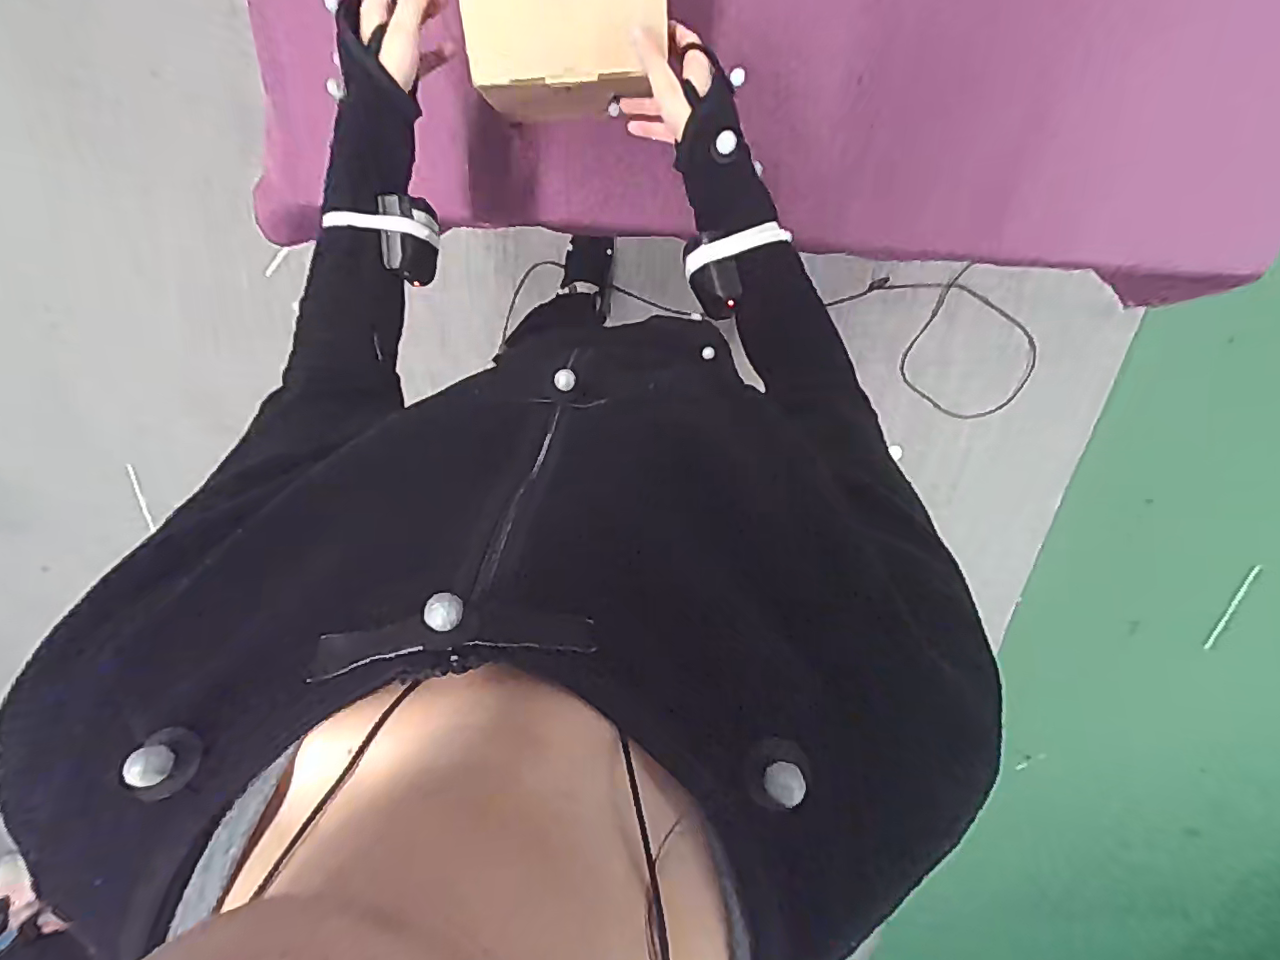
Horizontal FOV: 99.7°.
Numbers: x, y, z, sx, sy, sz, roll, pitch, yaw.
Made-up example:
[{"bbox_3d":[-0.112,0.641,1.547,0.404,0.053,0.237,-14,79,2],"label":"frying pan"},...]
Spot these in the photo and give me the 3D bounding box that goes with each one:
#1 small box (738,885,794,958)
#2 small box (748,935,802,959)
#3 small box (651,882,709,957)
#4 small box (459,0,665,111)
[{"bbox_3d":[0.483,1.717,2.104,0.168,0.176,0.179,1,115,-4],"label":"small box"},{"bbox_3d":[0.496,1.791,1.957,0.179,0.176,0.168,-2,116,-3],"label":"small box"},{"bbox_3d":[0.148,1.686,2.079,0.179,0.176,0.168,14,113,-9],"label":"small box"},{"bbox_3d":[-0.065,-0.445,0.483,0.168,0.176,0.179,-4,115,-1],"label":"small box"}]
